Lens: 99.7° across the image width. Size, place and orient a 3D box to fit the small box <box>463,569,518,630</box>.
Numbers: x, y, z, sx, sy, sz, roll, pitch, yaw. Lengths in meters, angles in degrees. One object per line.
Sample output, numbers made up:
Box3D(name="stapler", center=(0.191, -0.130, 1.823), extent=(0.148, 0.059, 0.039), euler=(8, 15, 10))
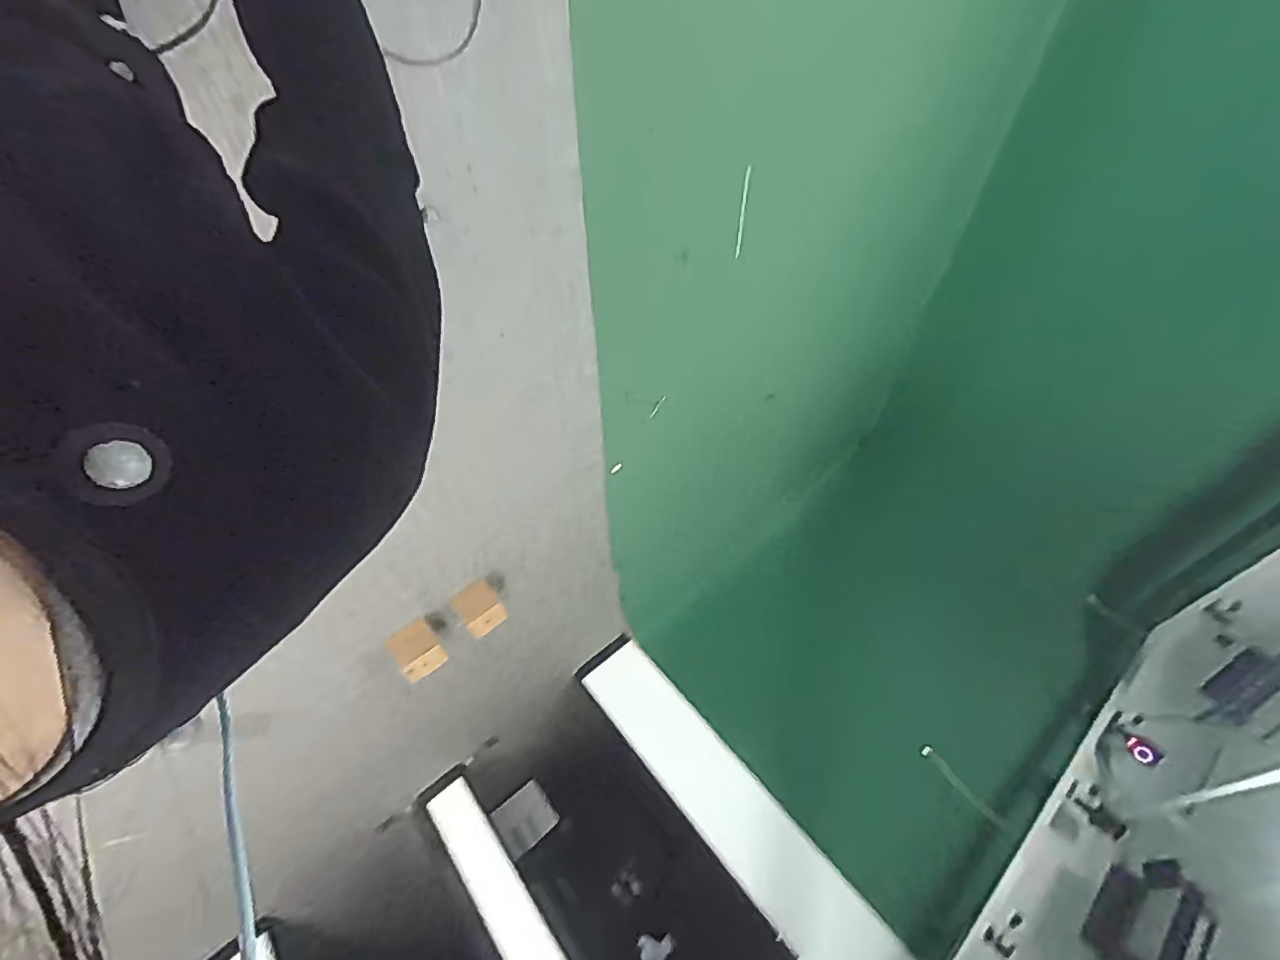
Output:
Box3D(name="small box", center=(-0.701, 0.553, 2.509), extent=(0.179, 0.176, 0.168), euler=(-36, 147, -21))
